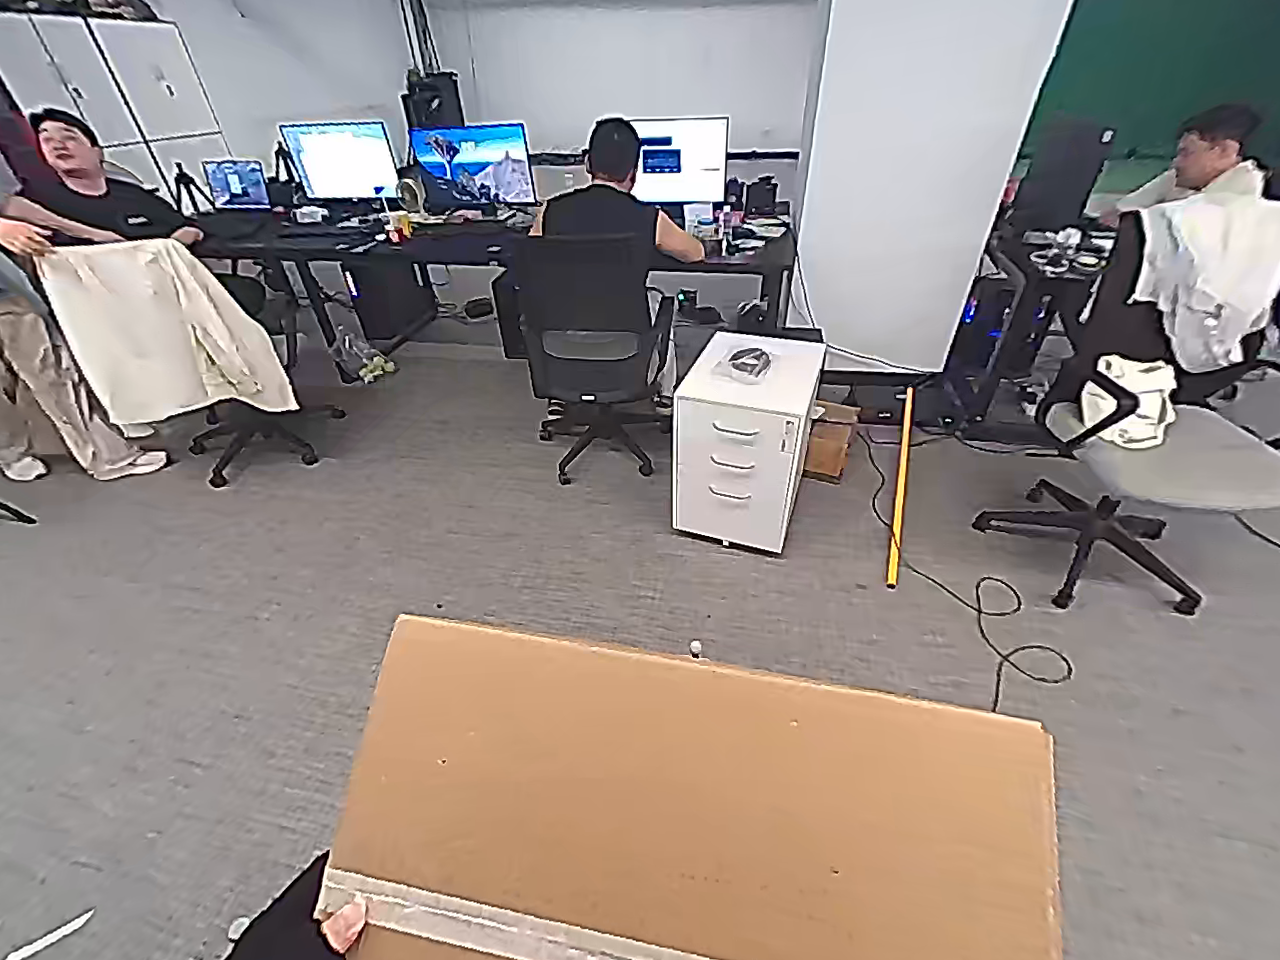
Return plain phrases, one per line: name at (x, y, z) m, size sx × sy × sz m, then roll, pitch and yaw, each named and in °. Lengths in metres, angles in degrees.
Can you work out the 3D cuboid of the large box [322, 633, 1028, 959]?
large box at (0.026, 0.314, 0.452) m, size 0.408 × 0.320 × 0.320 m, roll 7°, pitch 73°, yaw 8°
